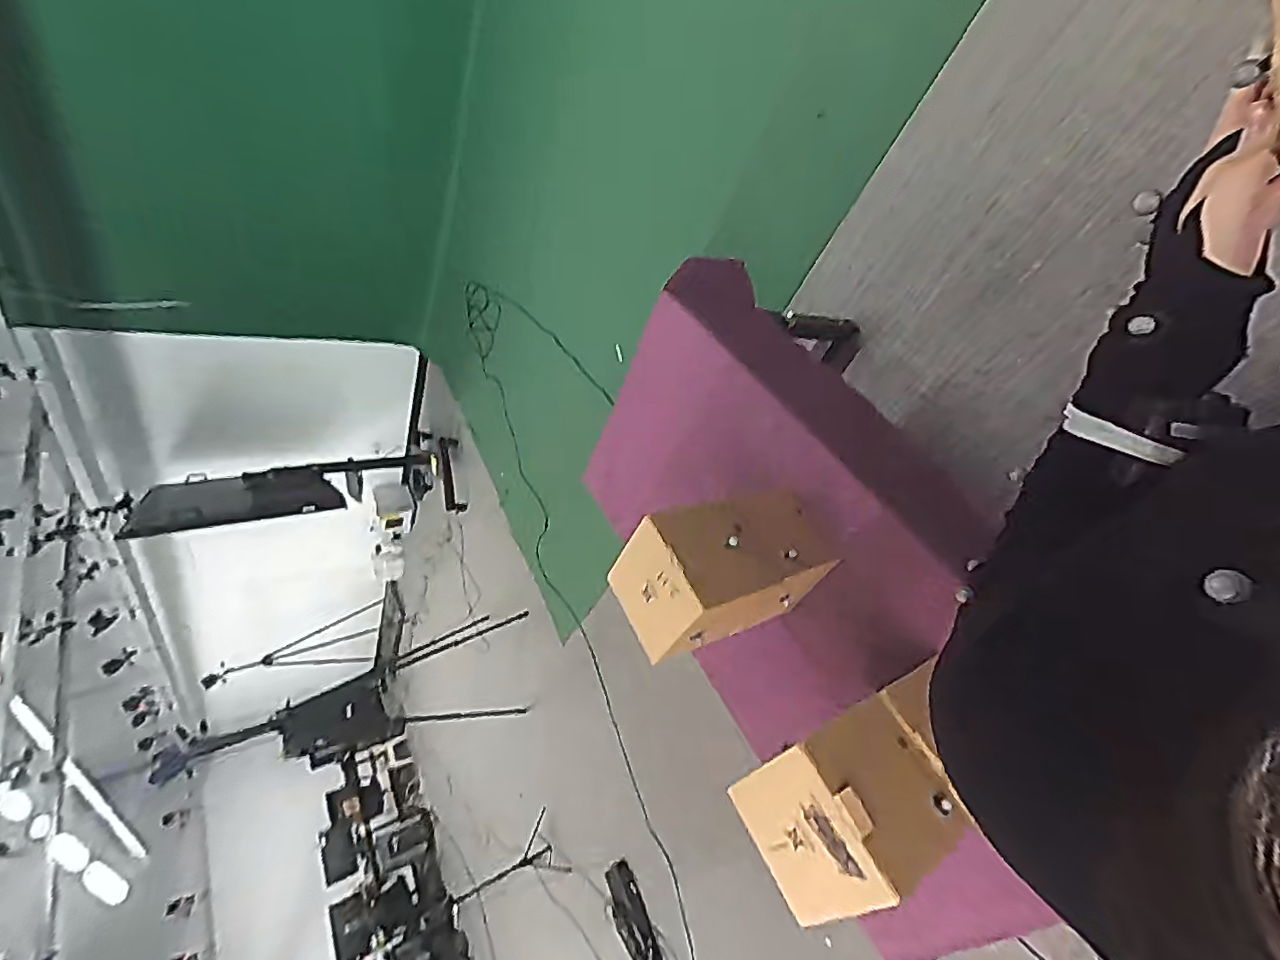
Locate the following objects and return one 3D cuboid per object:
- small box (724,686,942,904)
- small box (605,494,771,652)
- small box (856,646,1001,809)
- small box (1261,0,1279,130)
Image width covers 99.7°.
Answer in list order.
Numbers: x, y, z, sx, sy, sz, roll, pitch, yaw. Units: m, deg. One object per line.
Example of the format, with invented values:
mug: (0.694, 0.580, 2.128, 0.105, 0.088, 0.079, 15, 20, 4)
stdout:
small box: (0.248, 0.393, 0.691, 0.168, 0.176, 0.179, 57, 138, 28)
small box: (0.074, 0.144, 0.865, 0.168, 0.176, 0.179, 58, 137, 27)
small box: (0.382, 0.368, 0.785, 0.168, 0.176, 0.179, 57, 136, 29)
small box: (0.377, -0.268, 0.217, 0.168, 0.176, 0.179, -1, 105, 49)
